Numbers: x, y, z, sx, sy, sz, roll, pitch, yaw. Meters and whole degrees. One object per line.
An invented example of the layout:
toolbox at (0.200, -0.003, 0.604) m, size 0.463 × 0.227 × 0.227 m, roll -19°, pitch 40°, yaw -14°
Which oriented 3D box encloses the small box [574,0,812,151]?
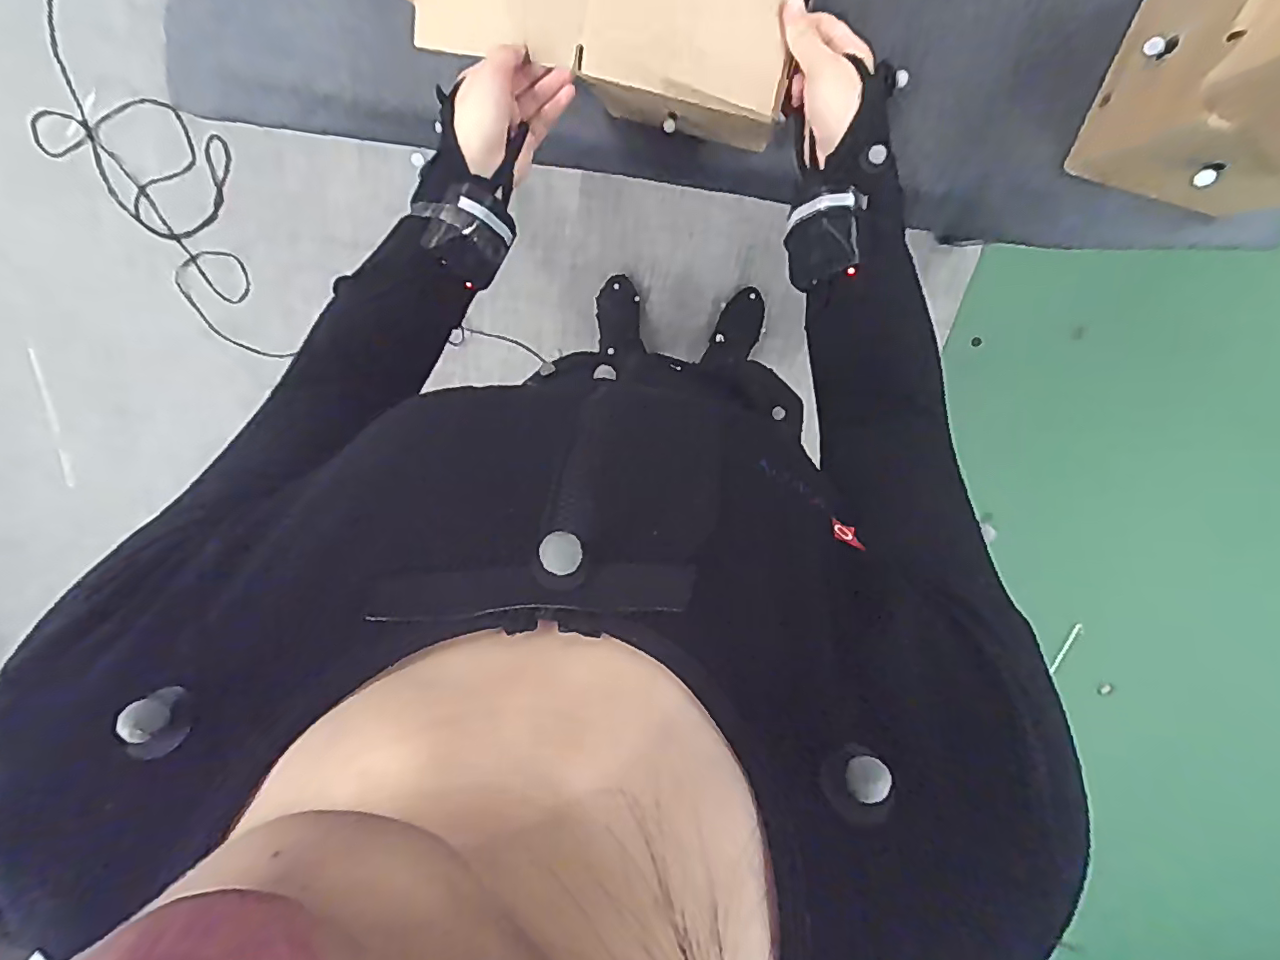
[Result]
small box at (0.058, -0.415, 0.489) m, size 0.179 × 0.176 × 0.168 m, roll 16°, pitch 115°, yaw 4°

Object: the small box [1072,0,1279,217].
small box at (0.535, -0.341, 0.463) m, size 0.179 × 0.176 × 0.168 m, roll 17°, pitch 109°, yaw 1°
